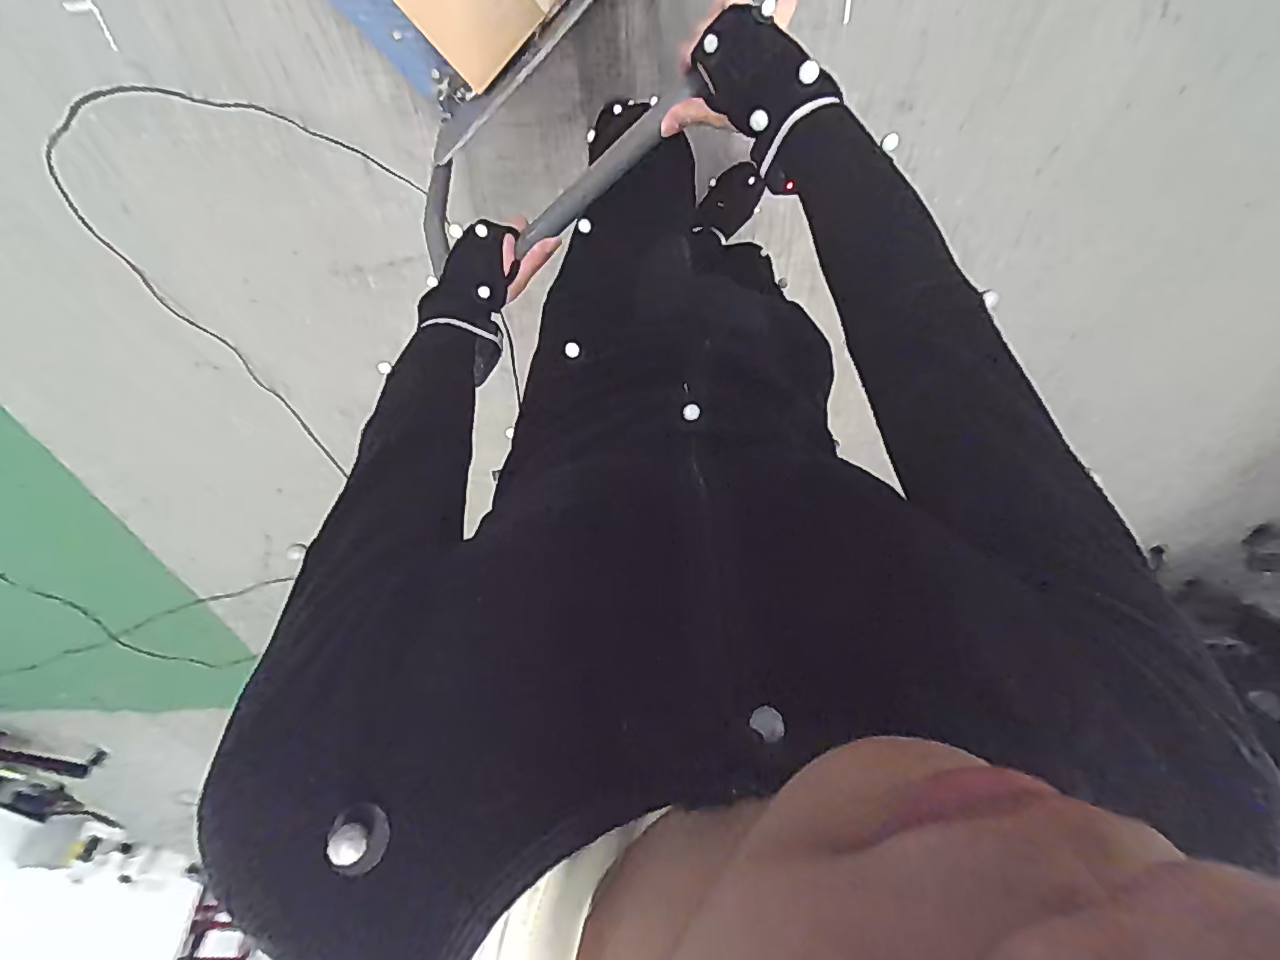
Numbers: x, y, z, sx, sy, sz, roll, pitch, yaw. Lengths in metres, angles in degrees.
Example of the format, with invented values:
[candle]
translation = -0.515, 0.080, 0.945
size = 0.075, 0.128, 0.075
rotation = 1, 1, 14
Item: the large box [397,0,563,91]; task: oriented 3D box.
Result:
[large box]
translation = -0.255, -0.851, 0.720
size = 0.320, 0.320, 0.408
rotation = -32, 133, 25
